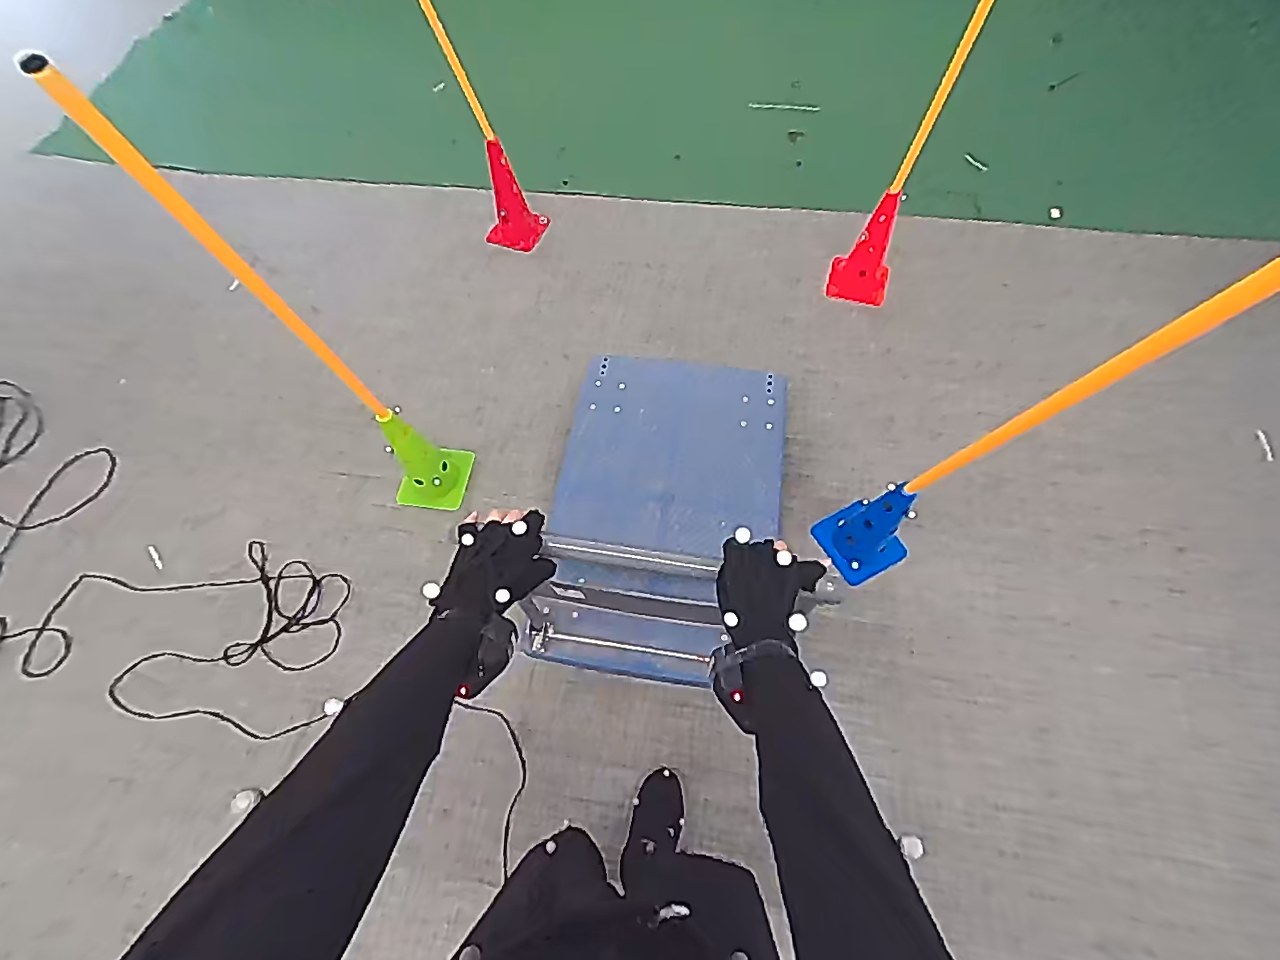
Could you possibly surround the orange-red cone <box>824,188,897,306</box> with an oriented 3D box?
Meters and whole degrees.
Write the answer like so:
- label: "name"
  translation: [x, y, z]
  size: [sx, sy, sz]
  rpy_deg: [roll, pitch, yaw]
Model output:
- label: "orange-red cone"
  translation: [0.757, -0.779, 1.765]
  size: [0.198, 0.360, 0.199]
  rpy_deg: [17, 67, 11]
